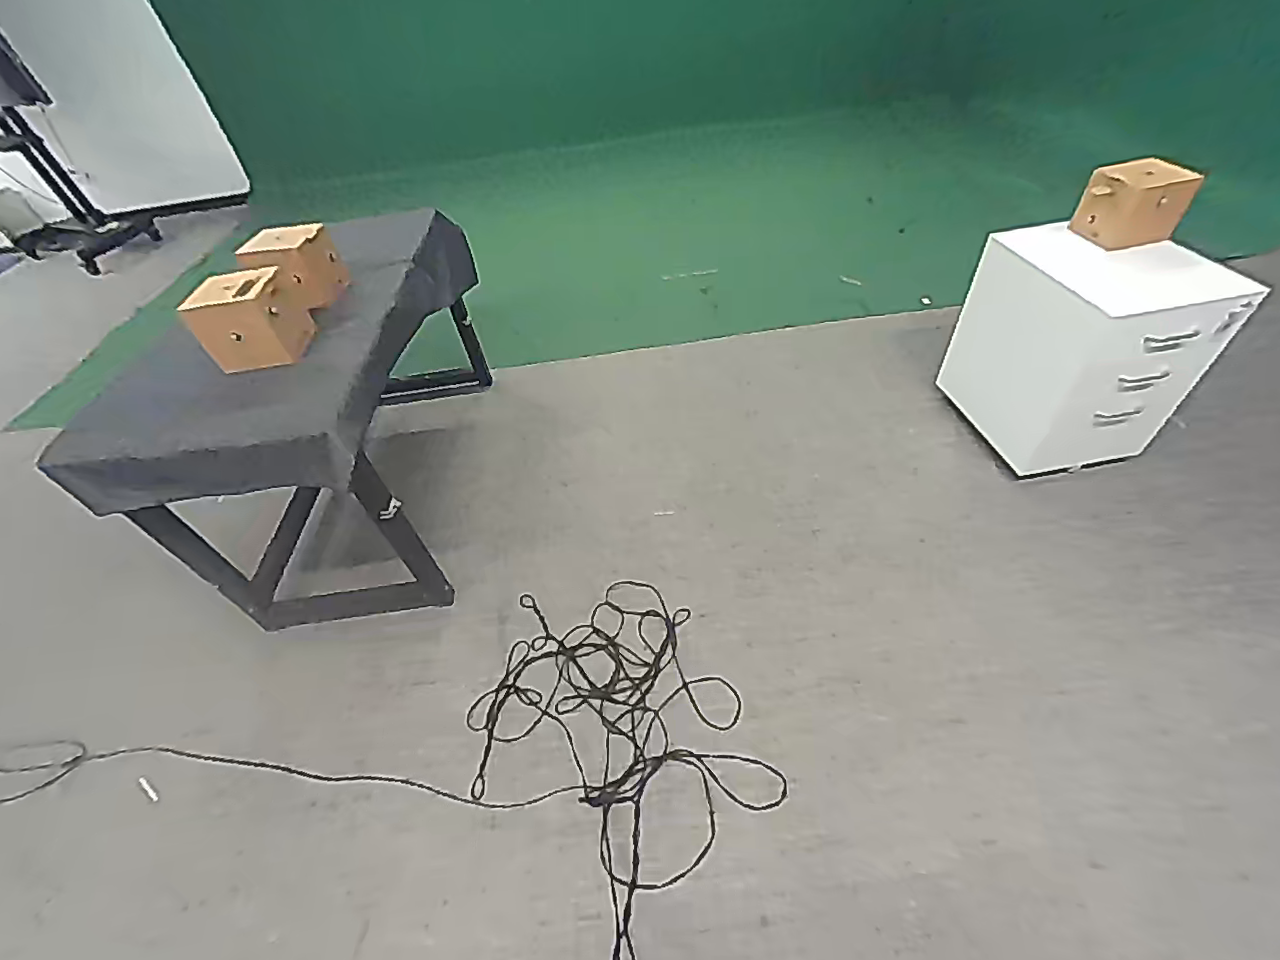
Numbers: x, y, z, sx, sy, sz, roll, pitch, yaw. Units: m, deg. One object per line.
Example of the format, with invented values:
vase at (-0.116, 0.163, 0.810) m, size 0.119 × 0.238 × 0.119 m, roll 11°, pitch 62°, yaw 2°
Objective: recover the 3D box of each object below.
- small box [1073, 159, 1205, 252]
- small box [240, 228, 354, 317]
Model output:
small box at (1.366, -0.759, 1.498) m, size 0.179 × 0.176 × 0.168 m, roll -12°, pitch 47°, yaw -1°
small box at (-0.926, -0.566, 1.481) m, size 0.179 × 0.176 × 0.168 m, roll -5°, pitch 45°, yaw 6°
